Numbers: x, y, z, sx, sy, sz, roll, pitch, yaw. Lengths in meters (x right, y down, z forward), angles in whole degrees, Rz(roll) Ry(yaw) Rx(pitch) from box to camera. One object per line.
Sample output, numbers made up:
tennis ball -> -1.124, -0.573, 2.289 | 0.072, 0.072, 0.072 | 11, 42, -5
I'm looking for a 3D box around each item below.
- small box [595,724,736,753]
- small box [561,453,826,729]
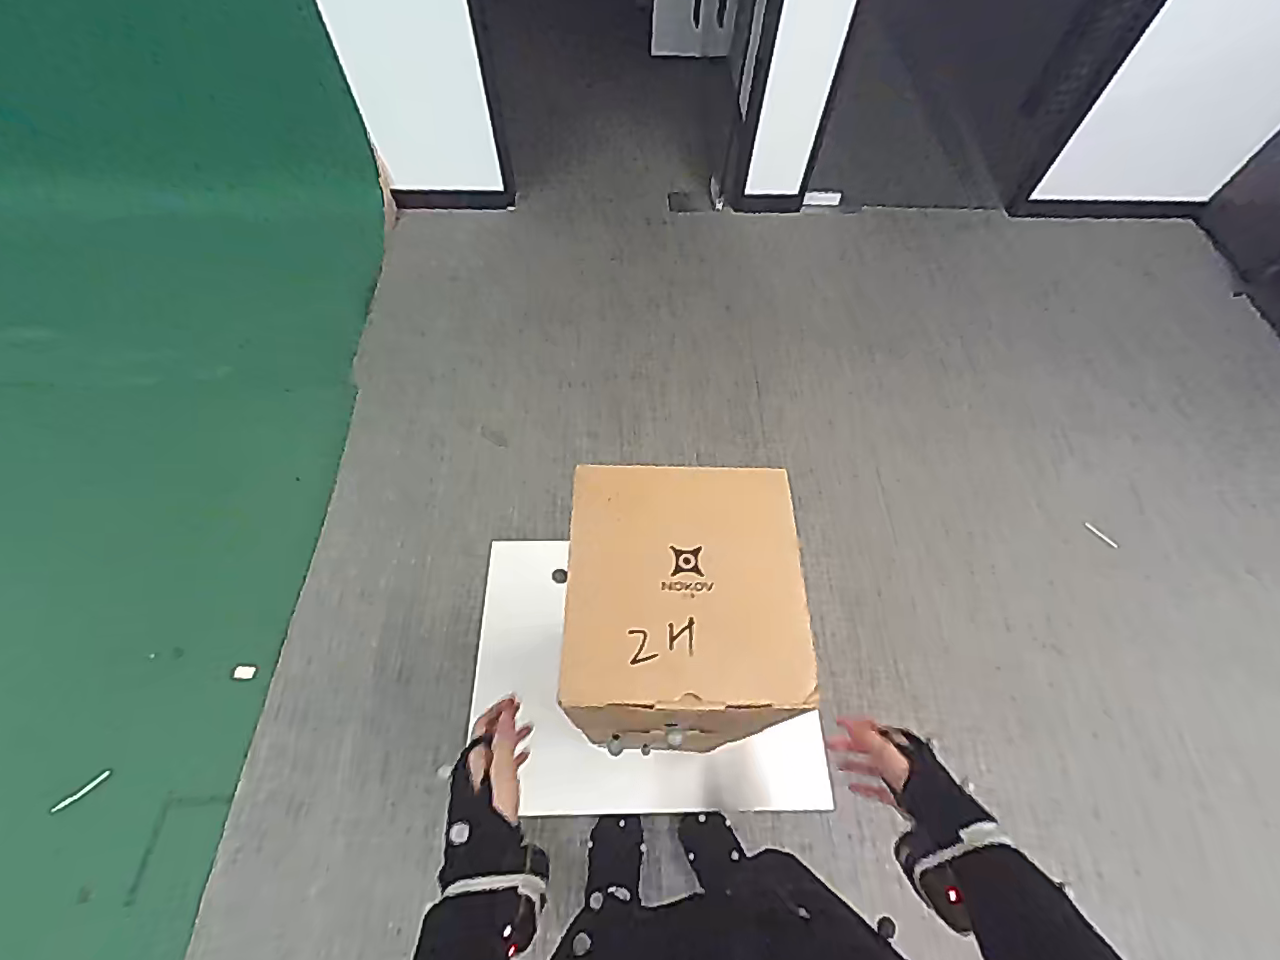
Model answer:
small box -> 0.029, 0.260, 0.726 | 0.168, 0.176, 0.179 | 2, 59, 0
small box -> 0.032, 0.096, 0.440 | 0.168, 0.176, 0.179 | 1, 60, -1
